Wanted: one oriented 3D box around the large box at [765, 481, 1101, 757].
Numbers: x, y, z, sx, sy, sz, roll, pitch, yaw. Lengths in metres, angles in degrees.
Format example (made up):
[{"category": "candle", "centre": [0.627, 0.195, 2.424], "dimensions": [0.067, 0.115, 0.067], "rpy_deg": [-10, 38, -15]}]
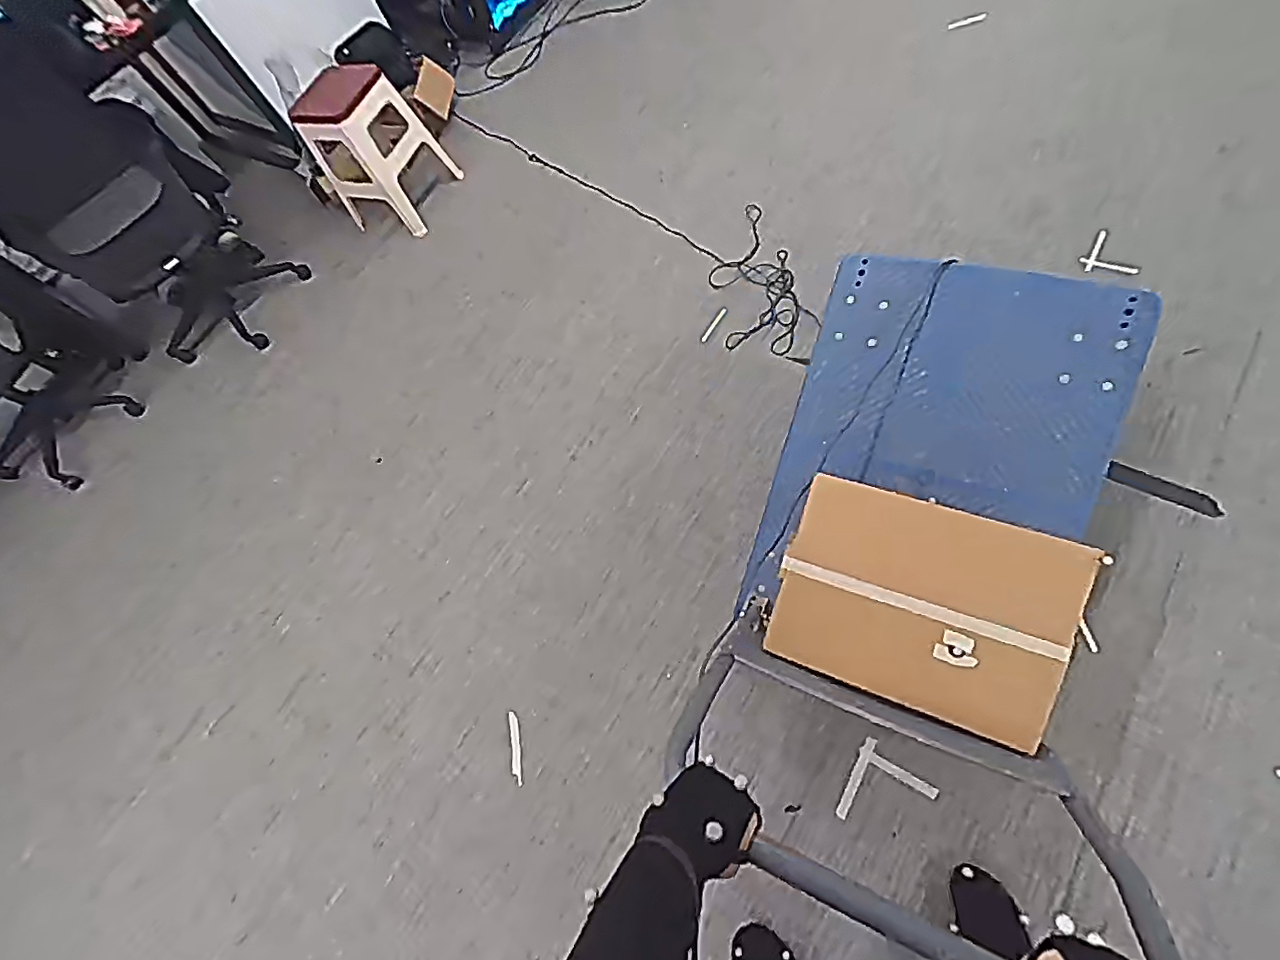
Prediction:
[{"category": "large box", "centre": [0.470, 0.204, 0.963], "dimensions": [0.408, 0.320, 0.320], "rpy_deg": [17, 94, 19]}]
